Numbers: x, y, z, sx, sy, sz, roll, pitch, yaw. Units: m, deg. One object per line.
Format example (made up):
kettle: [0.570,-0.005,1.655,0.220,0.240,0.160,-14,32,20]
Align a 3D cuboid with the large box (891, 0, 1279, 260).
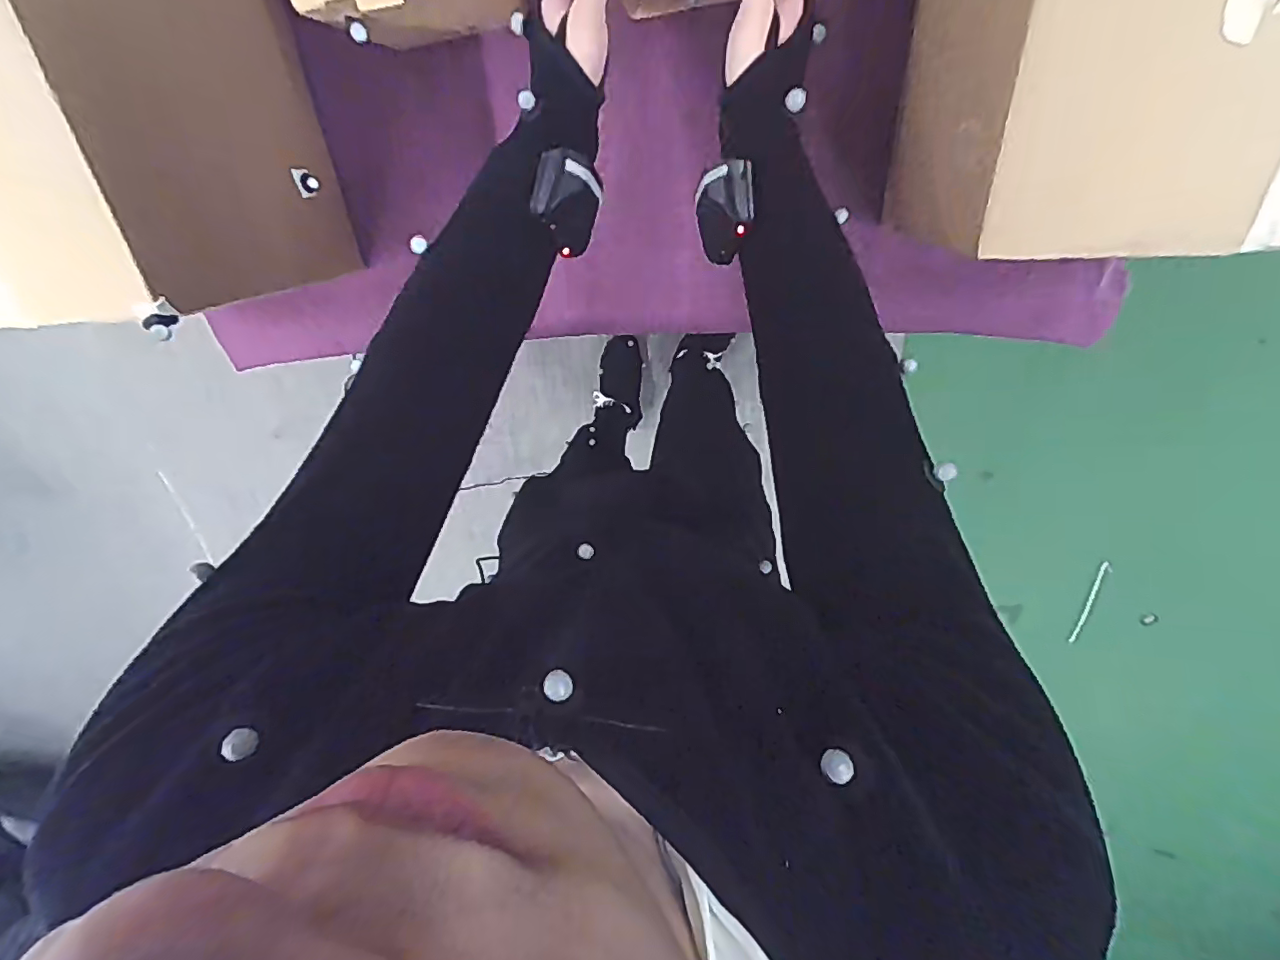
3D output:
large box: [0.397,-0.394,0.374,0.320,0.320,0.408,2,120,11]
